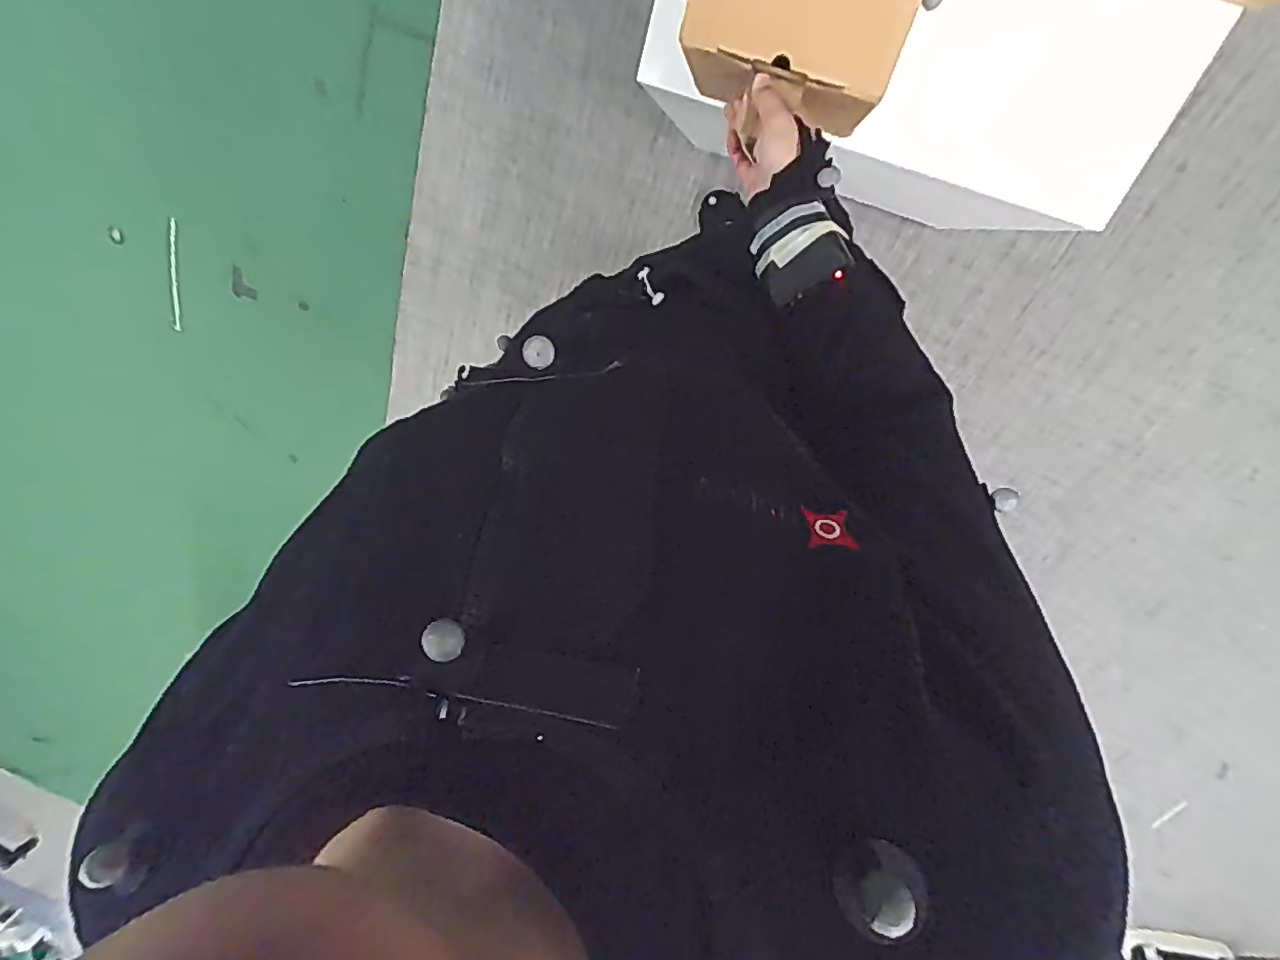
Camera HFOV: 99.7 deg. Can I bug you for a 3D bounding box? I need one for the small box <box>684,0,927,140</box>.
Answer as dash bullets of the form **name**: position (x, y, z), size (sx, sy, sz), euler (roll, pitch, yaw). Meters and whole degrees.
- **small box**: position (0.145, -0.415, 0.452), size (0.168, 0.176, 0.179), euler (19, 117, 2)
